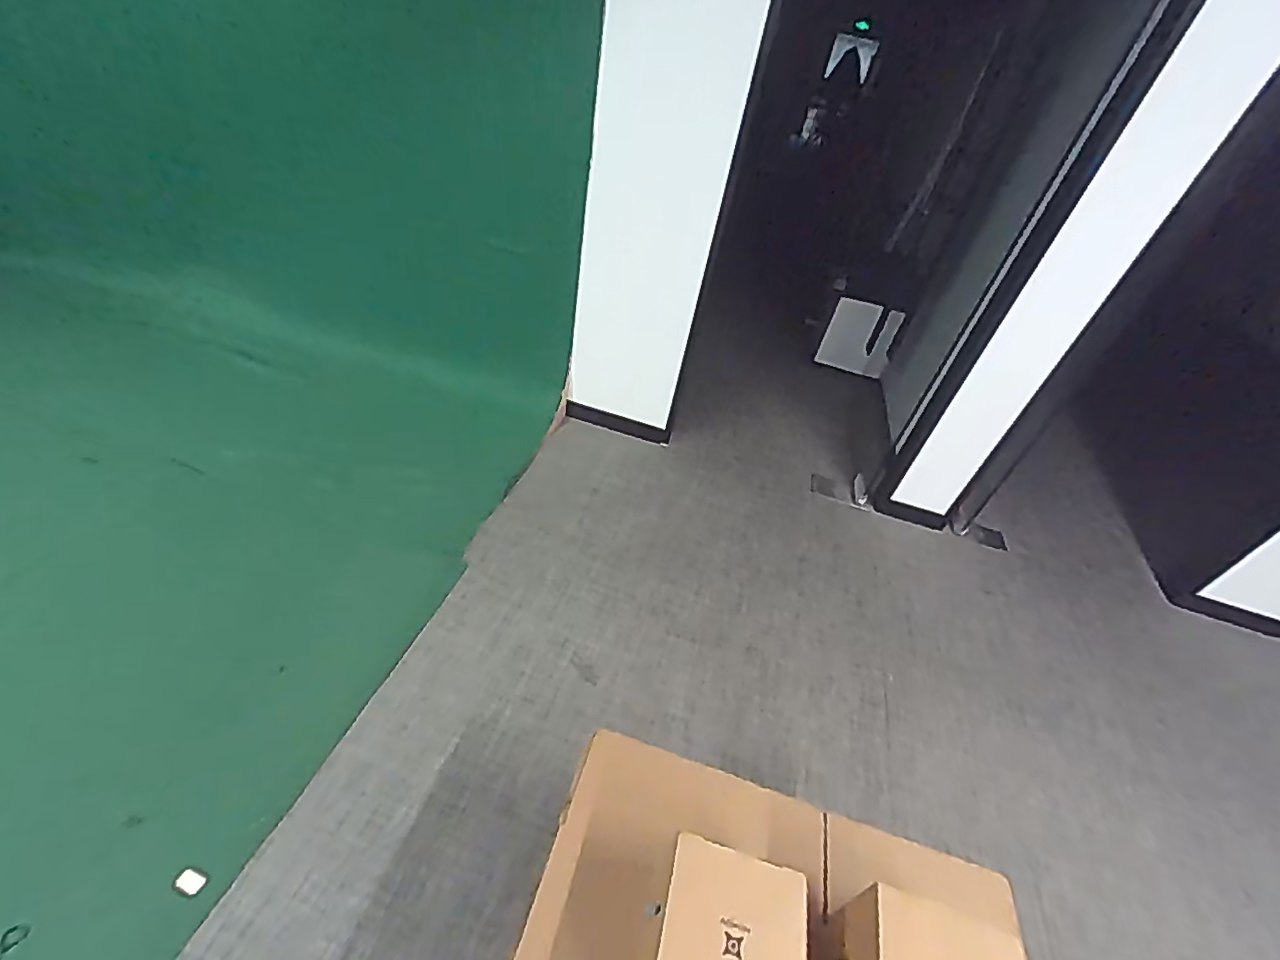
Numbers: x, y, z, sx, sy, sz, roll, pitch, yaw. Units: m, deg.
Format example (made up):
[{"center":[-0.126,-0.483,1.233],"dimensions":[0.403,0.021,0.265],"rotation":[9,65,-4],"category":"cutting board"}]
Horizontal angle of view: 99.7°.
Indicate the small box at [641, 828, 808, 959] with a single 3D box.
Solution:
[{"center":[0.094,0.571,0.654],"dimensions":[0.168,0.176,0.179],"rotation":[15,38,6],"category":"small box"}]
